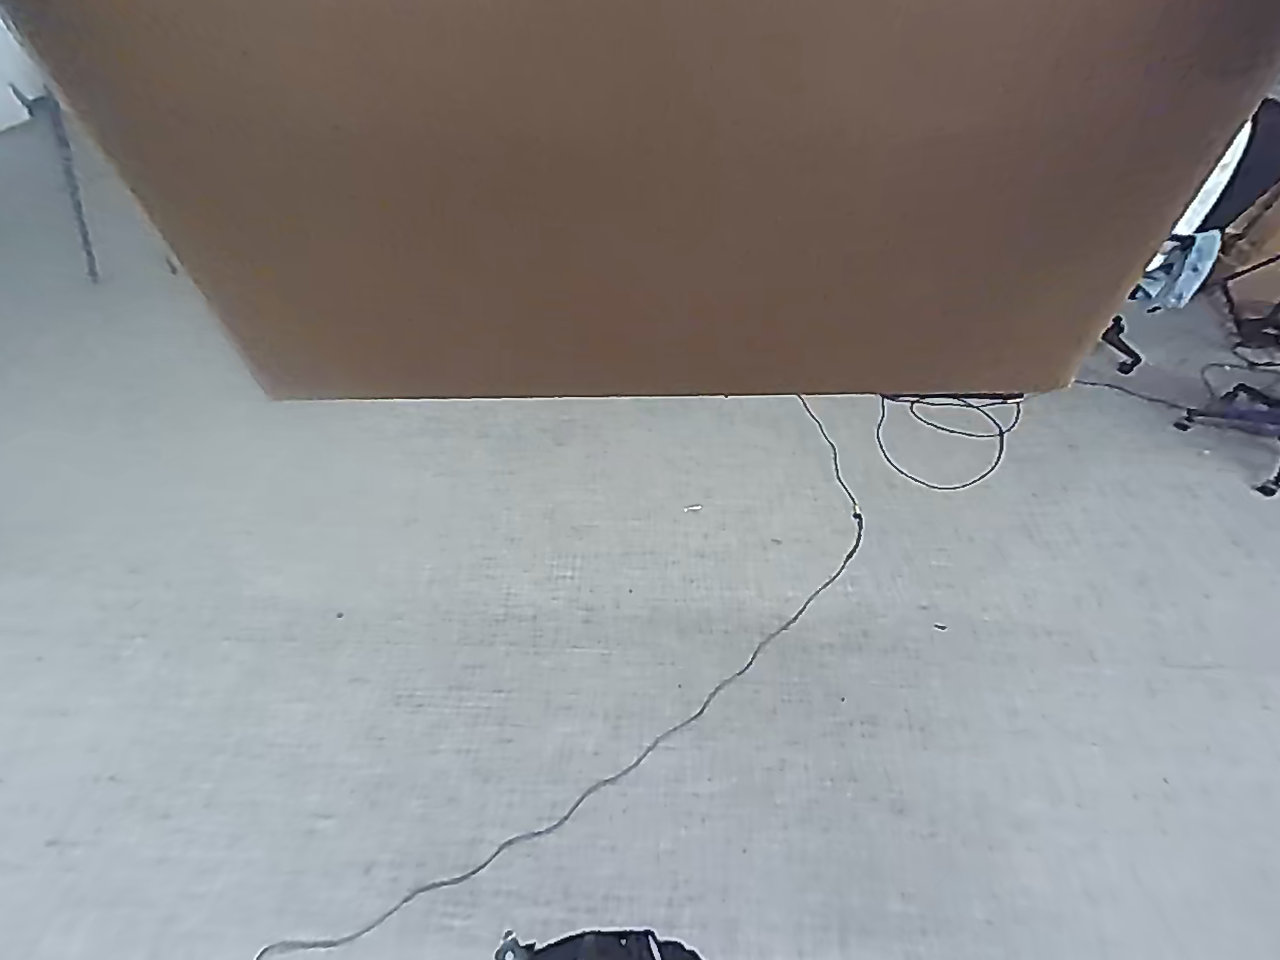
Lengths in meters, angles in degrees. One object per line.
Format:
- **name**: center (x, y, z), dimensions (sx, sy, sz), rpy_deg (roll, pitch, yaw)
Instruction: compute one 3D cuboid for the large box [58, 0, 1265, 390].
- **large box**: center (0.007, -0.260, 0.279), dimensions (0.408, 0.320, 0.320), rpy_deg (0, 48, 2)
